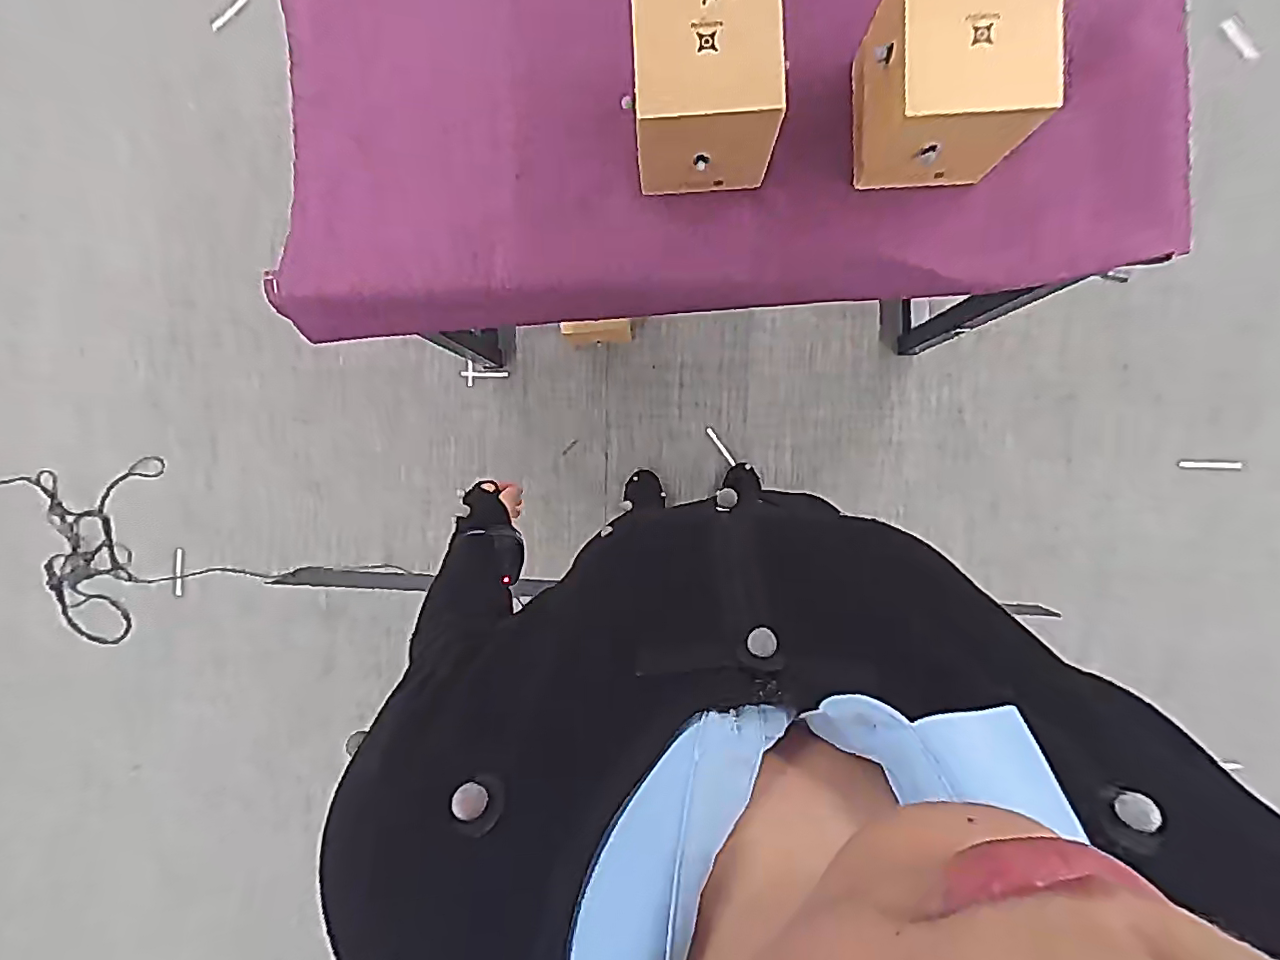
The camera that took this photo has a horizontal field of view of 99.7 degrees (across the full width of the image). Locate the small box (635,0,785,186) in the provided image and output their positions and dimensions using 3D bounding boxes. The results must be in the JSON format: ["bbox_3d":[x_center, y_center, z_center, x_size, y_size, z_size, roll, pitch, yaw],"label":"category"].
[{"bbox_3d":[0.081,-0.490,0.675,0.168,0.176,0.179,-2,90,2],"label":"small box"}]

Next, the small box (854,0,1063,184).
[{"bbox_3d":[0.372,-0.485,0.661,0.168,0.176,0.179,-1,91,3],"label":"small box"}]
